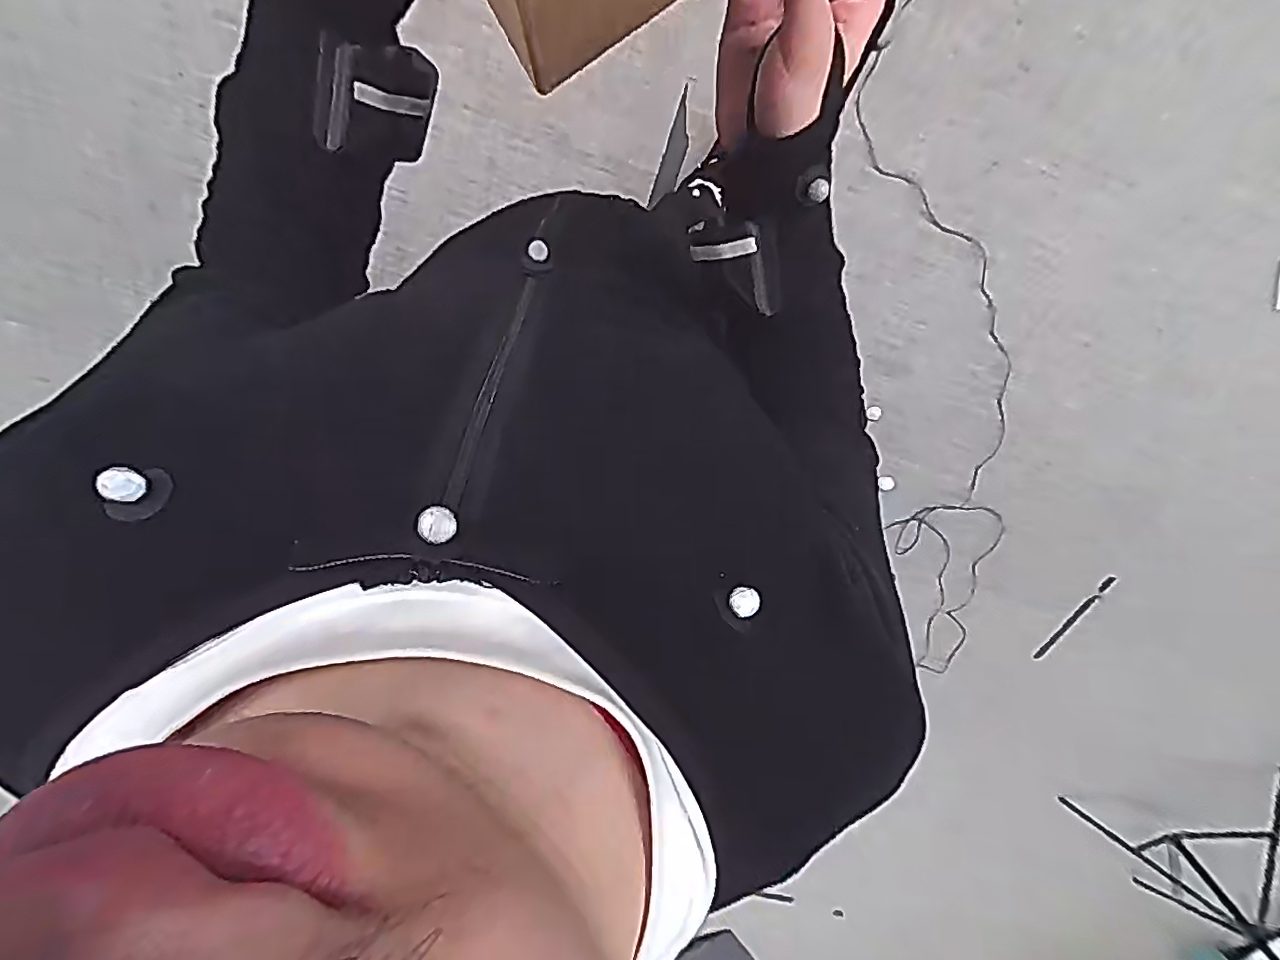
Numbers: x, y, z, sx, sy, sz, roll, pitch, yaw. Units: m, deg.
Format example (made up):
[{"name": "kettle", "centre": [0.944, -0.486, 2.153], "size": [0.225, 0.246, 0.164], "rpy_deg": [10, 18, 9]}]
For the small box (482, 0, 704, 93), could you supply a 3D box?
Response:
[{"name": "small box", "centre": [-0.004, -0.252, 0.147], "size": [0.179, 0.176, 0.168], "rpy_deg": [-31, 114, 8]}]
